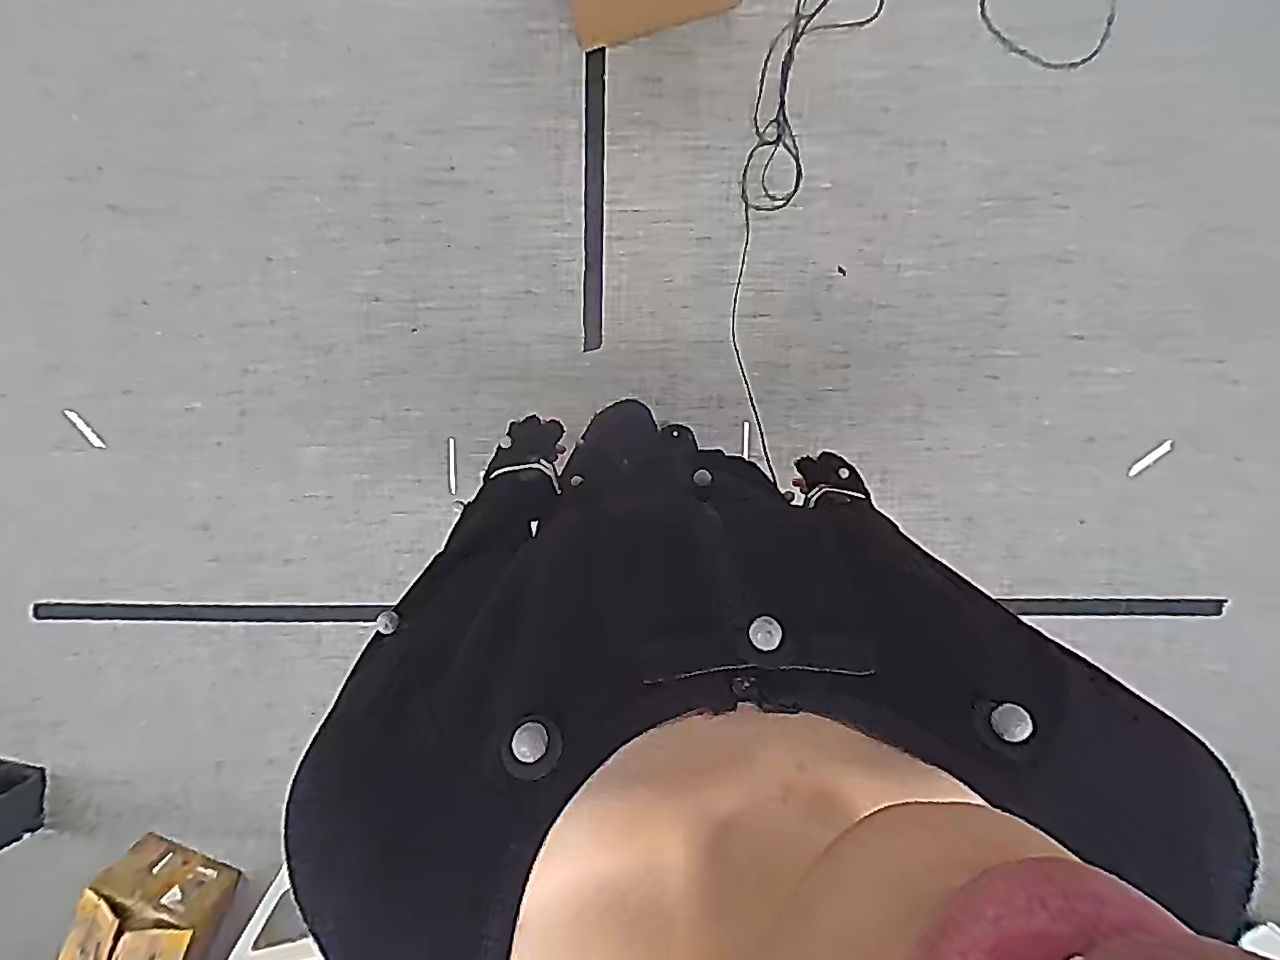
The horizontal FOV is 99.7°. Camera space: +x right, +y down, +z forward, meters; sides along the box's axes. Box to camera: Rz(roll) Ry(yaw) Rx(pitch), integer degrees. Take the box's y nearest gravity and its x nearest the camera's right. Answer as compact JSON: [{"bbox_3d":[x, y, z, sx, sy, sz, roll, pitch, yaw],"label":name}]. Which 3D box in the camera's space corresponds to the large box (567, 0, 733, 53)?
[{"bbox_3d":[0.001,-1.251,1.189,0.408,0.320,0.320,-16,96,1],"label":"large box"}]
